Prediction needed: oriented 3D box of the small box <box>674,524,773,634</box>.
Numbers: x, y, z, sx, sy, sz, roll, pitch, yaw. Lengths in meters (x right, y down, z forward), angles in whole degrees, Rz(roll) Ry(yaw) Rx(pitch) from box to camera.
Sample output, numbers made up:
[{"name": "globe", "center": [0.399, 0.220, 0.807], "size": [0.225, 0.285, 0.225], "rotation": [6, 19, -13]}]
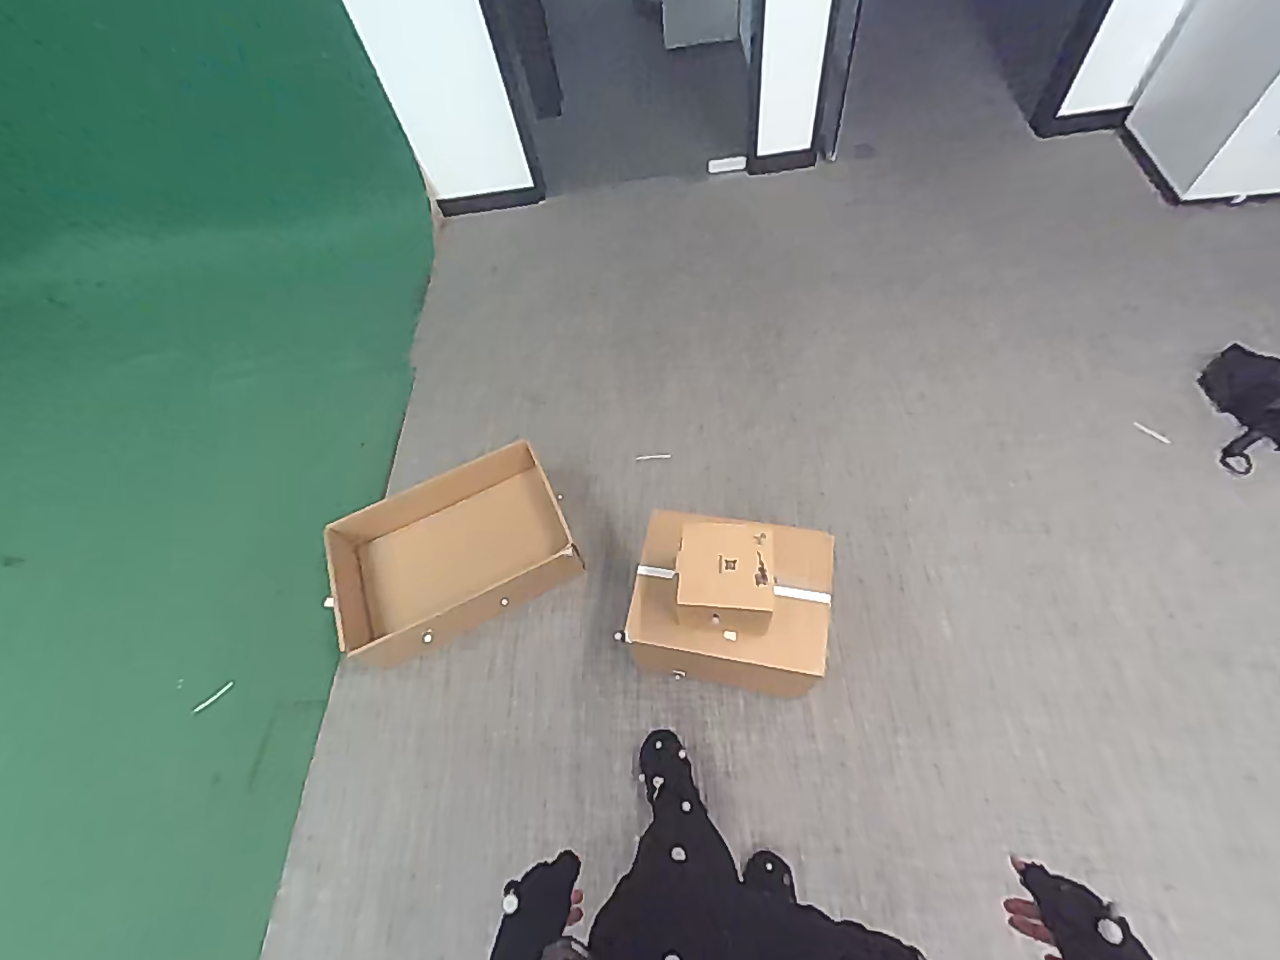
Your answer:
[{"name": "small box", "center": [0.167, 0.198, 1.065], "size": [0.179, 0.176, 0.168], "rotation": [2, 61, 10]}]
